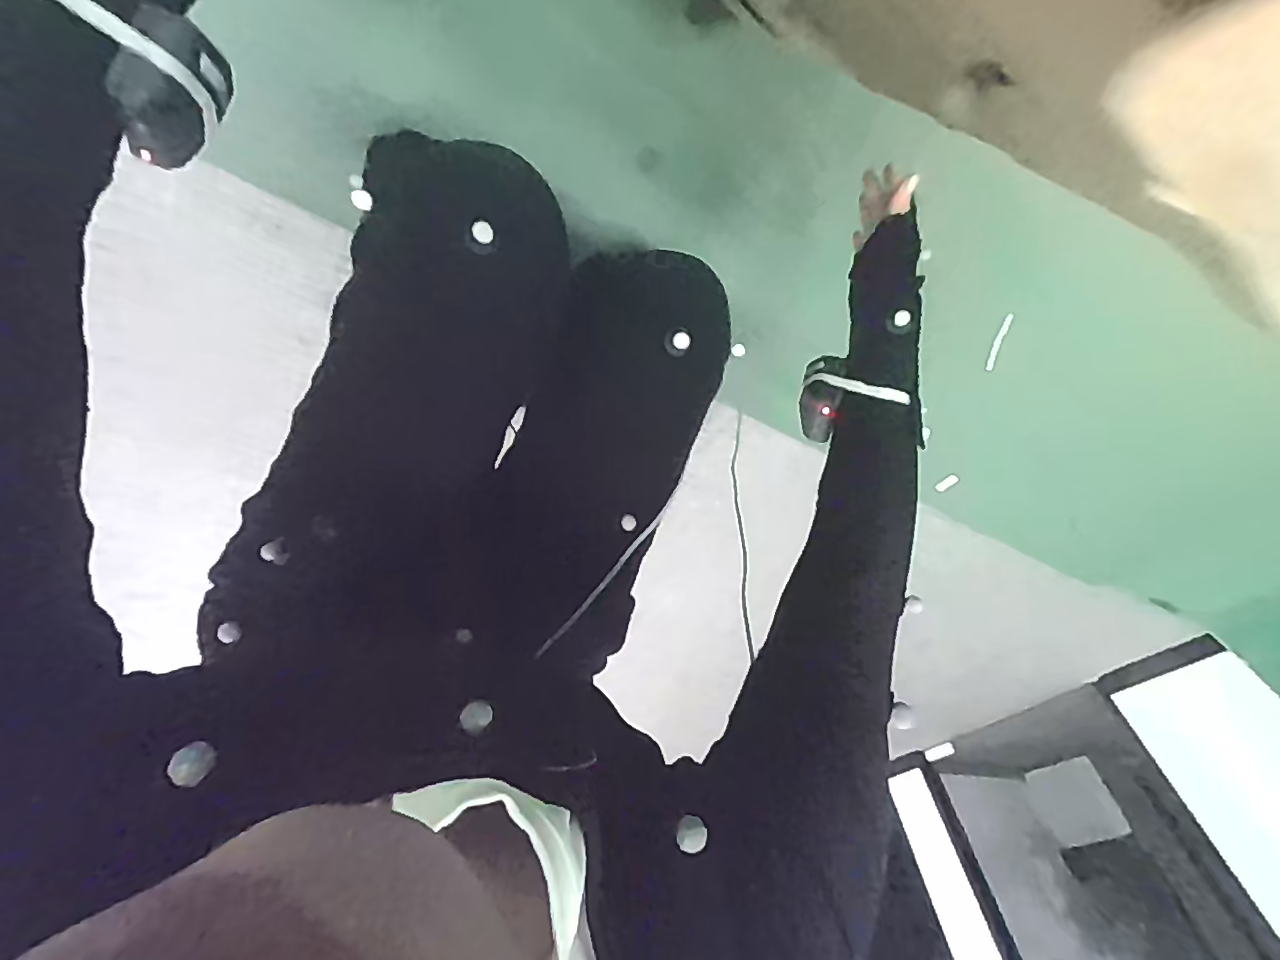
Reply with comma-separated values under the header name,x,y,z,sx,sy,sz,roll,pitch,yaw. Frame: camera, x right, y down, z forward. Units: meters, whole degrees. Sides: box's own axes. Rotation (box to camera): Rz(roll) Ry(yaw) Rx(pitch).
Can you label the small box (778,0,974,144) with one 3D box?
name,x,y,z,sx,sy,sz,roll,pitch,yaw
small box,0.143,-0.286,0.224,0.168,0.176,0.179,21,129,-28
